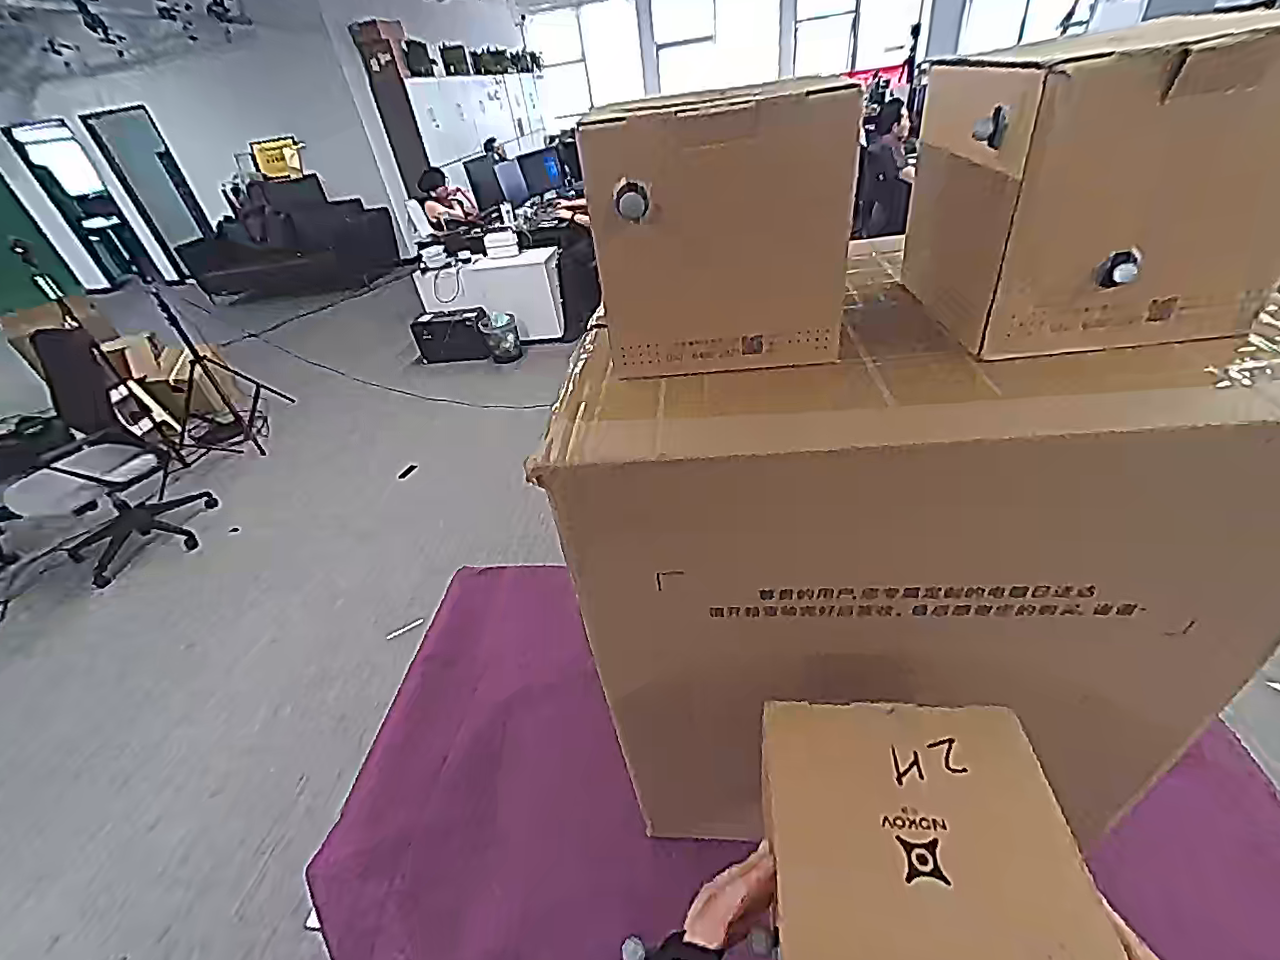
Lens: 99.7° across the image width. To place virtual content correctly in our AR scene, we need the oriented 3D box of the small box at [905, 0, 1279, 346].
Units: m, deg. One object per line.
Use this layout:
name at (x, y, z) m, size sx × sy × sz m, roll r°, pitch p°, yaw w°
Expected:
small box at (0.305, -0.210, 0.378) m, size 0.168 × 0.176 × 0.179 m, roll -5°, pitch 38°, yaw 7°
